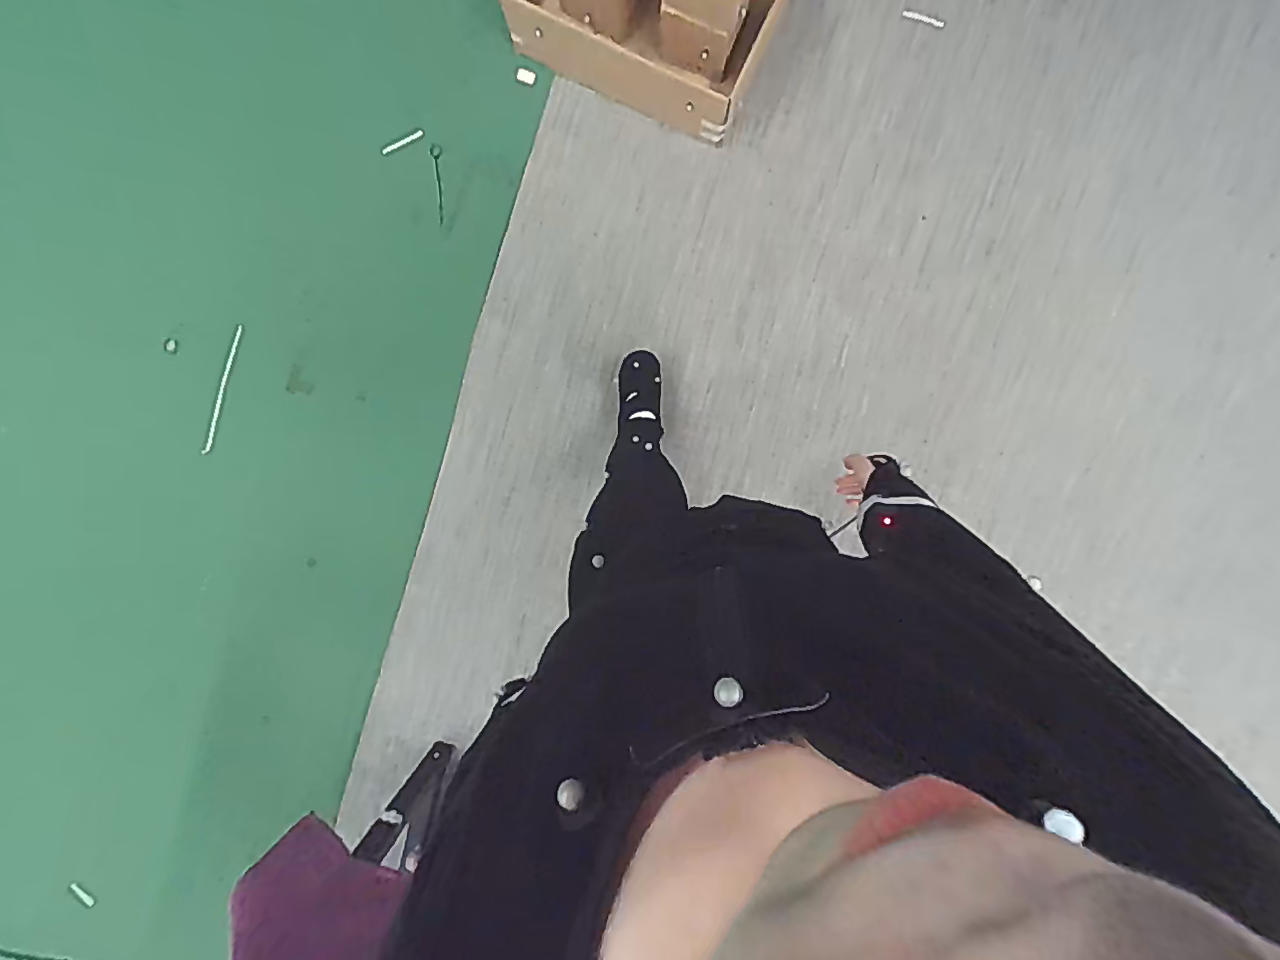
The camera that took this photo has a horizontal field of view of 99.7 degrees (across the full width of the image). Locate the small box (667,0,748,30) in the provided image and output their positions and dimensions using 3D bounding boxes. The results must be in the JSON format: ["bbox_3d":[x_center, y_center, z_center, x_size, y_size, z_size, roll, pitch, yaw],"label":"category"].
[{"bbox_3d":[0.162,-1.096,1.124,0.179,0.176,0.168,24,95,2],"label":"small box"}]
